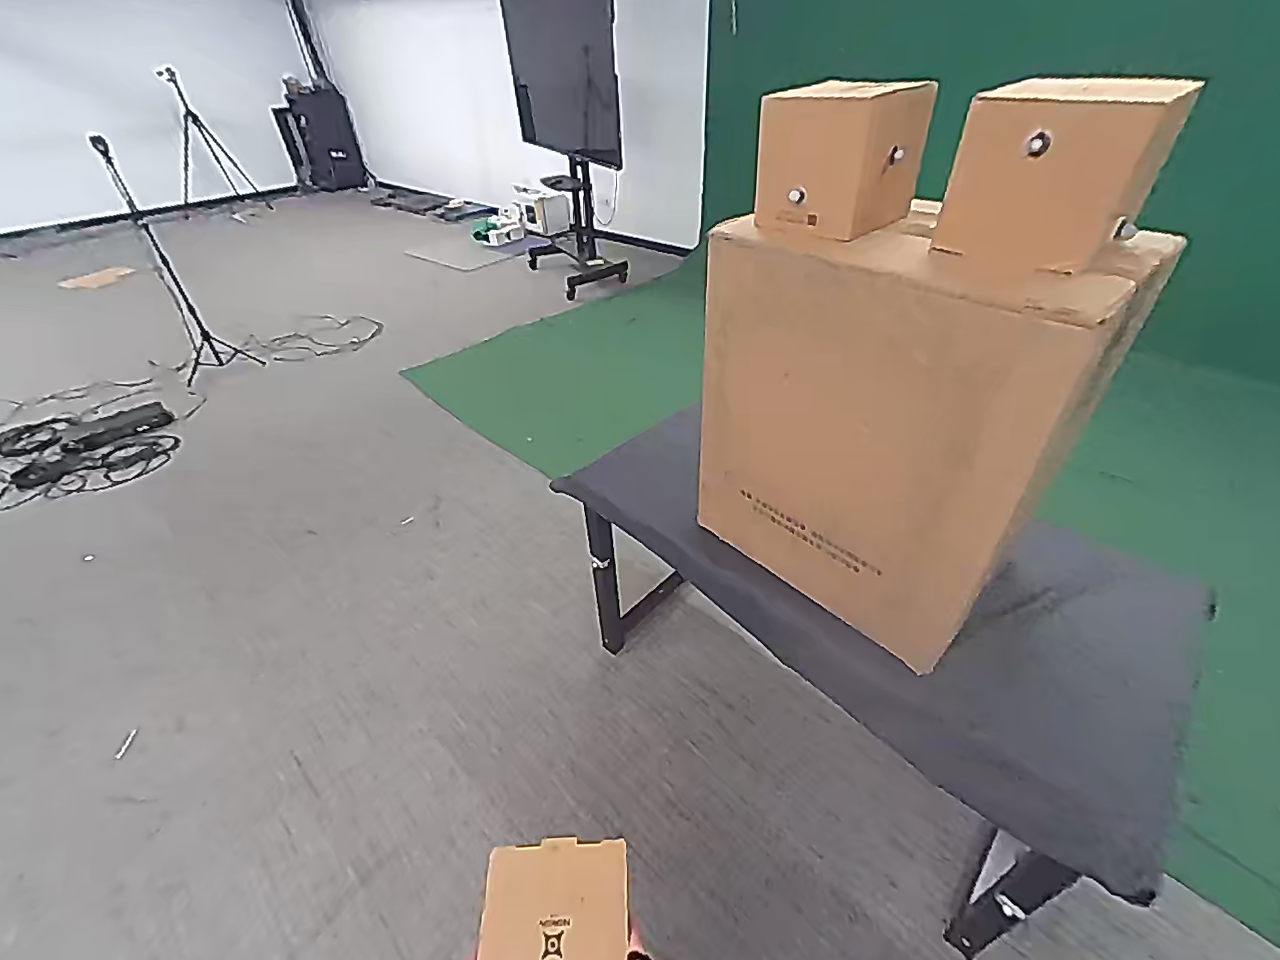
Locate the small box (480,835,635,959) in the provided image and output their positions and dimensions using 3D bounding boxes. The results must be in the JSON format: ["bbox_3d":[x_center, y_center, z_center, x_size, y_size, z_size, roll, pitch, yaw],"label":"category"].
[{"bbox_3d":[-0.091,0.554,0.651,0.168,0.176,0.179,-2,43,-1],"label":"small box"}]

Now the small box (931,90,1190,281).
[{"bbox_3d":[0.489,-0.358,0.654,0.168,0.176,0.179,-33,50,-29],"label":"small box"}]

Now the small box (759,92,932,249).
[{"bbox_3d":[0.290,-0.460,0.797,0.179,0.176,0.168,-32,46,-29],"label":"small box"}]
